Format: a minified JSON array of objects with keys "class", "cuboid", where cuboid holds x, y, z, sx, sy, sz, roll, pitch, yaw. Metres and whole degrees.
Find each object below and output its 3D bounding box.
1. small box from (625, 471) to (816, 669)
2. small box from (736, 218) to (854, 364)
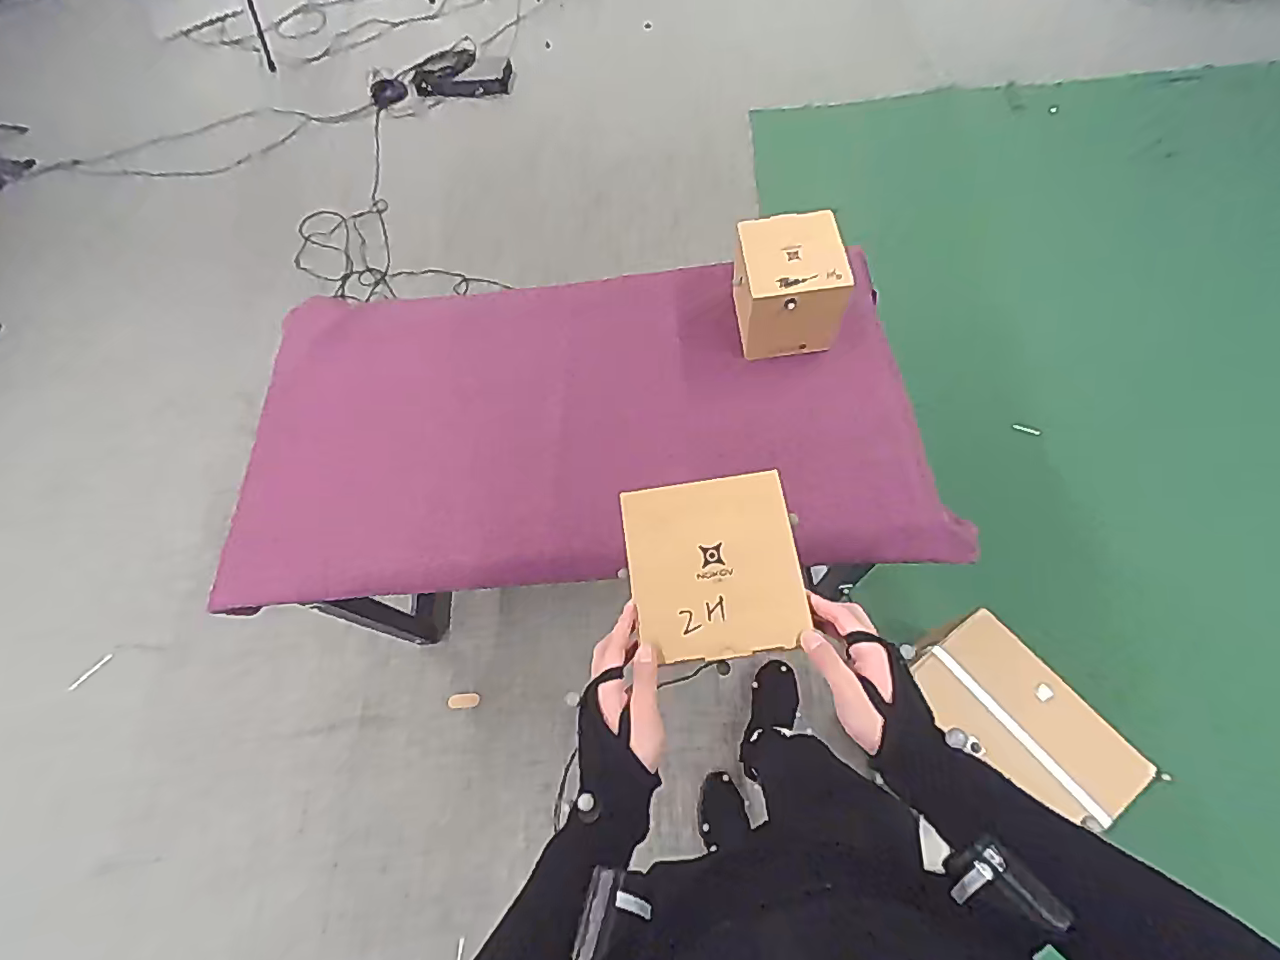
[{"class":"small box","cuboid":[0.080,0.109,0.602,0.168,0.176,0.179,-9,69,4]},{"class":"small box","cuboid":[0.269,-0.337,0.982,0.168,0.176,0.179,-6,64,5]}]
